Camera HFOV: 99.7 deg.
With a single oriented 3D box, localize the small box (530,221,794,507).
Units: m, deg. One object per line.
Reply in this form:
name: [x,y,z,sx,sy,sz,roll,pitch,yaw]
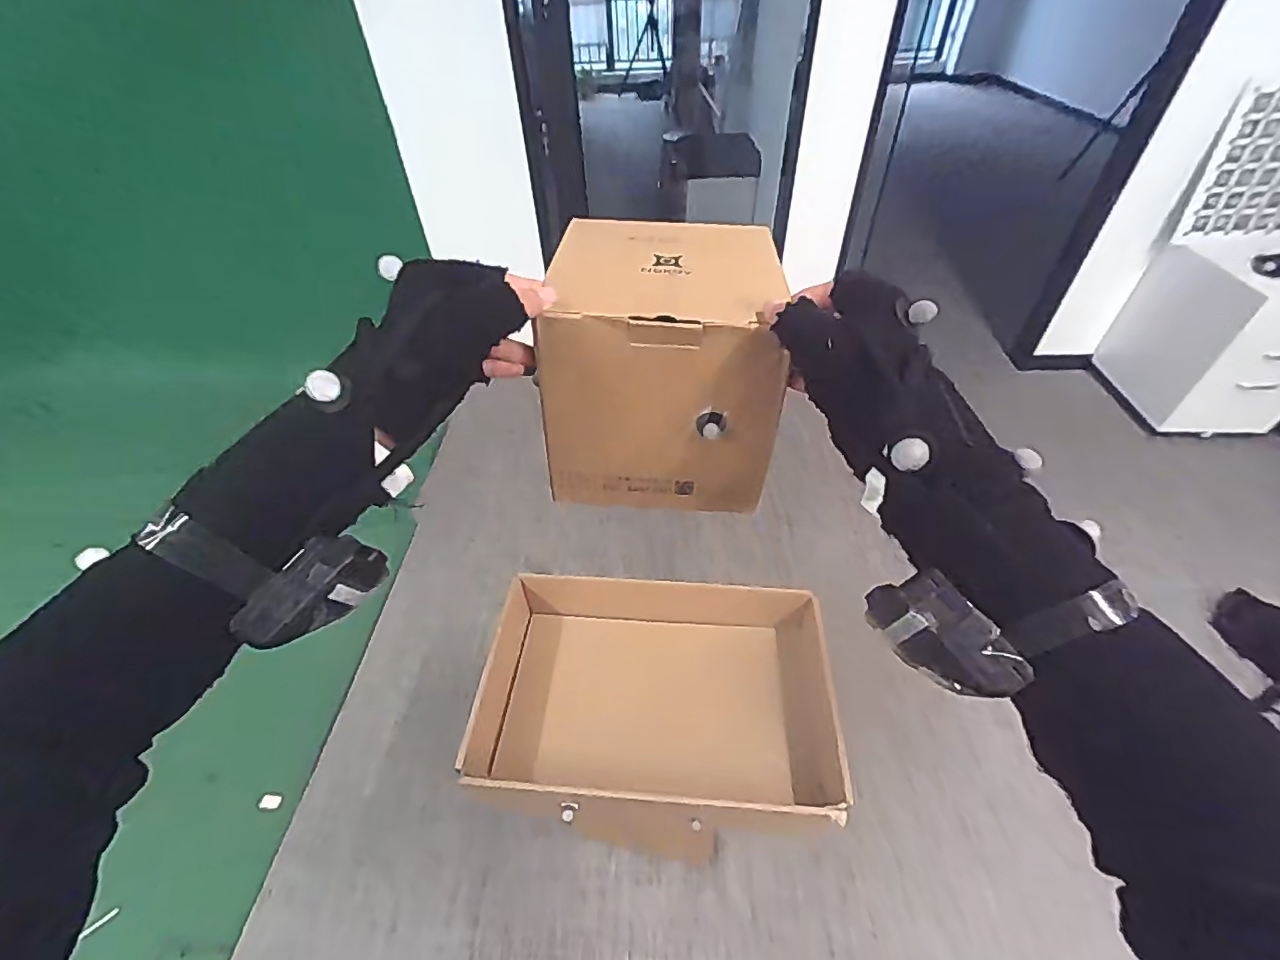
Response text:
small box: [0.016,-0.094,0.441,0.168,0.176,0.179,3,42,1]
